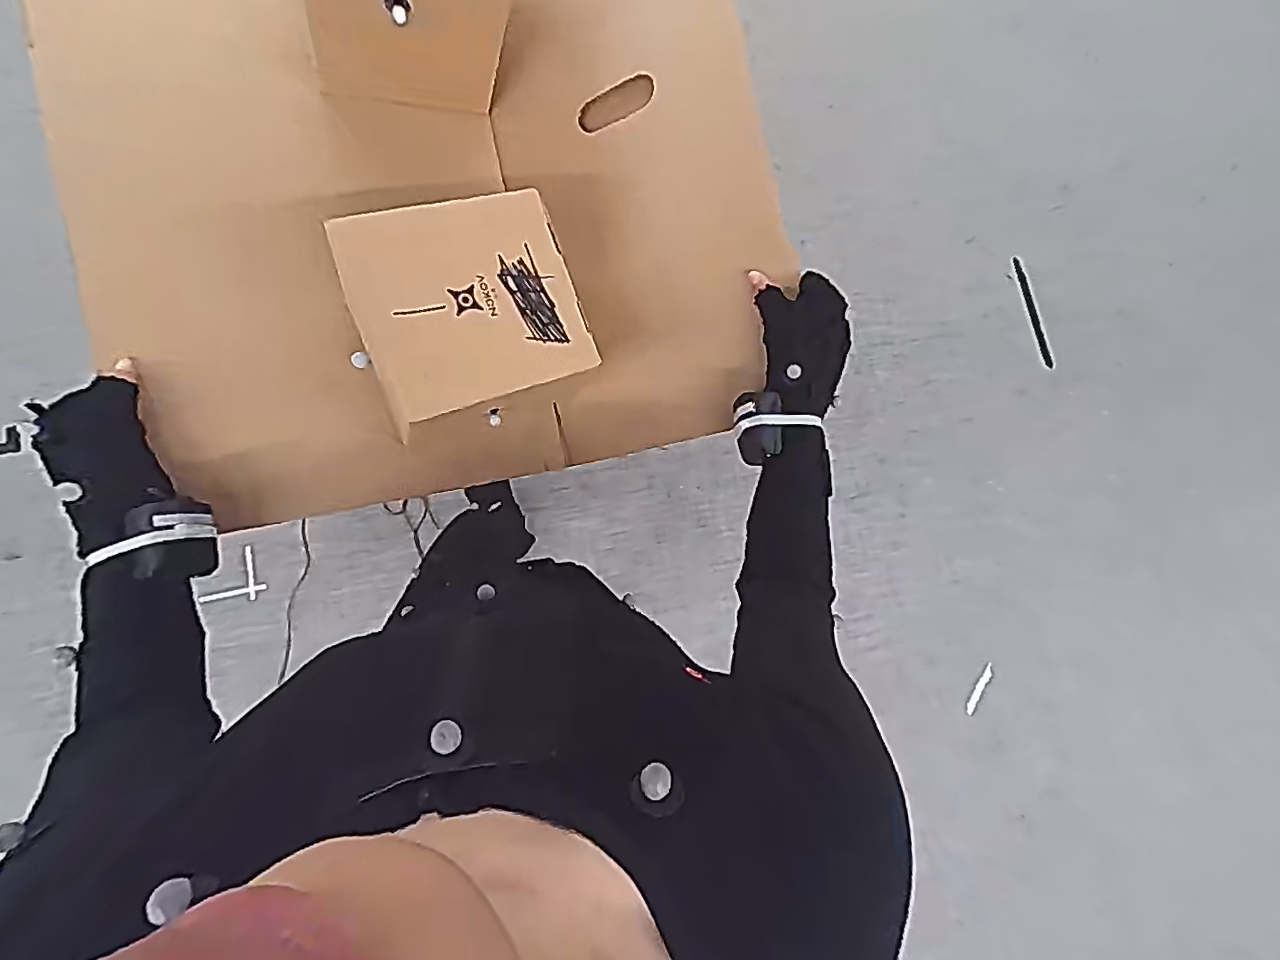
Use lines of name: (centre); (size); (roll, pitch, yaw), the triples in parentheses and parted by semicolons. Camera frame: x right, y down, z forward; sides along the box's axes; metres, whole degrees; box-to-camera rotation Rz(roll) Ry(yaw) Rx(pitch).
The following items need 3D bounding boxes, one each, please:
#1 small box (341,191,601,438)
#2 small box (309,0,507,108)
small box: (-0.166, -0.151, 0.532); (0.179, 0.176, 0.168); (-22, 95, -22)
small box: (-0.233, -0.507, 0.531); (0.179, 0.176, 0.168); (-8, 89, -24)
